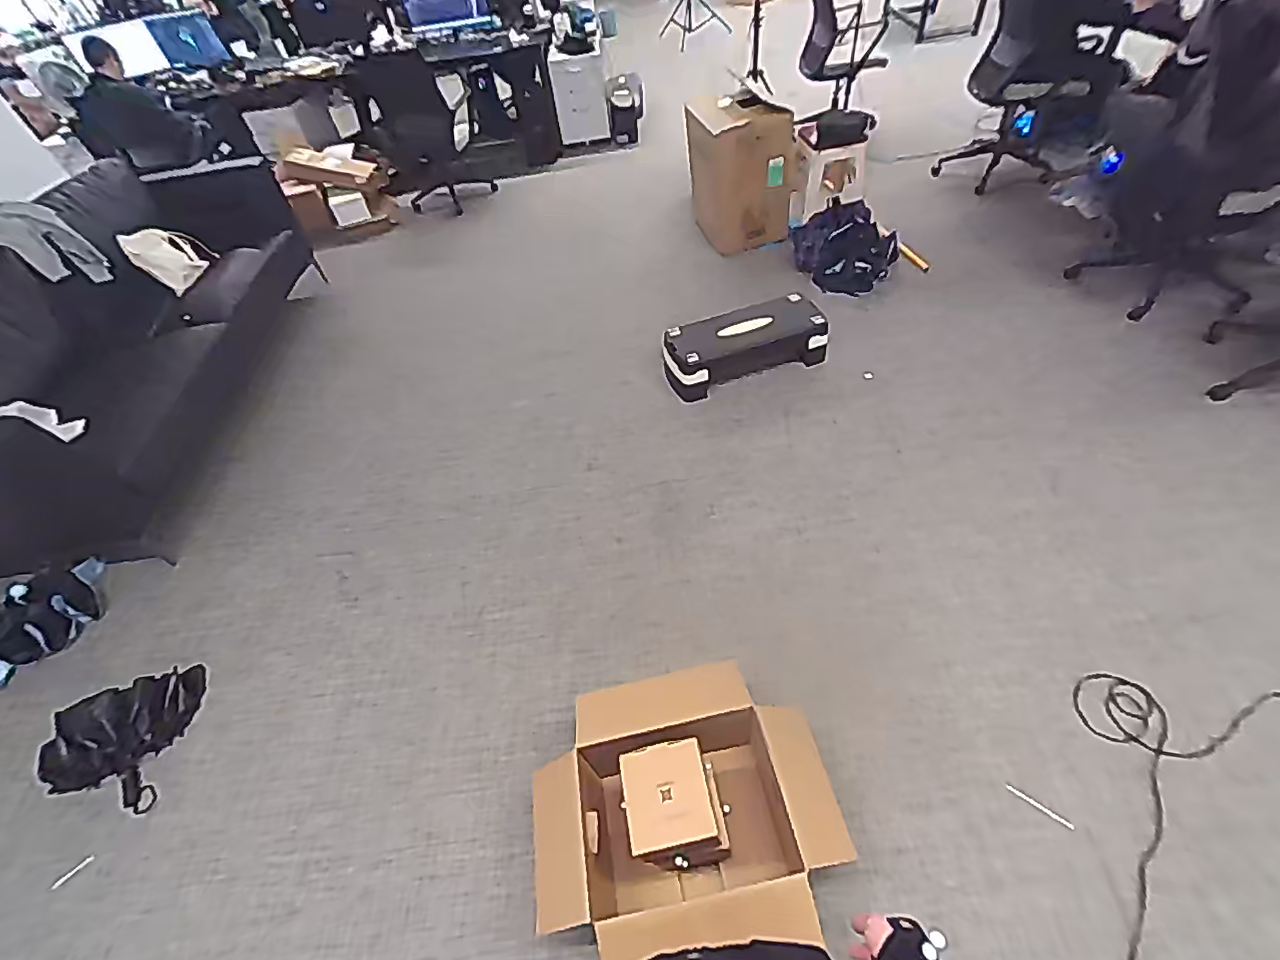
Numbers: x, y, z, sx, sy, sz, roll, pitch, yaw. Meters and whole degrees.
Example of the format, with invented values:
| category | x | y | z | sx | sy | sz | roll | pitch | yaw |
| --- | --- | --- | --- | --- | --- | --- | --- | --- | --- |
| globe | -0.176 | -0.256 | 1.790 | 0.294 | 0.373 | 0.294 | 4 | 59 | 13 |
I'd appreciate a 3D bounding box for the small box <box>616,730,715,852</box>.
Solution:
| category | x | y | z | sx | sy | sz | roll | pitch | yaw |
| --- | --- | --- | --- | --- | --- | --- | --- | --- | --- |
| small box | 0.054 | 0.645 | 1.120 | 0.168 | 0.176 | 0.179 | -14 | 51 | 1 |
